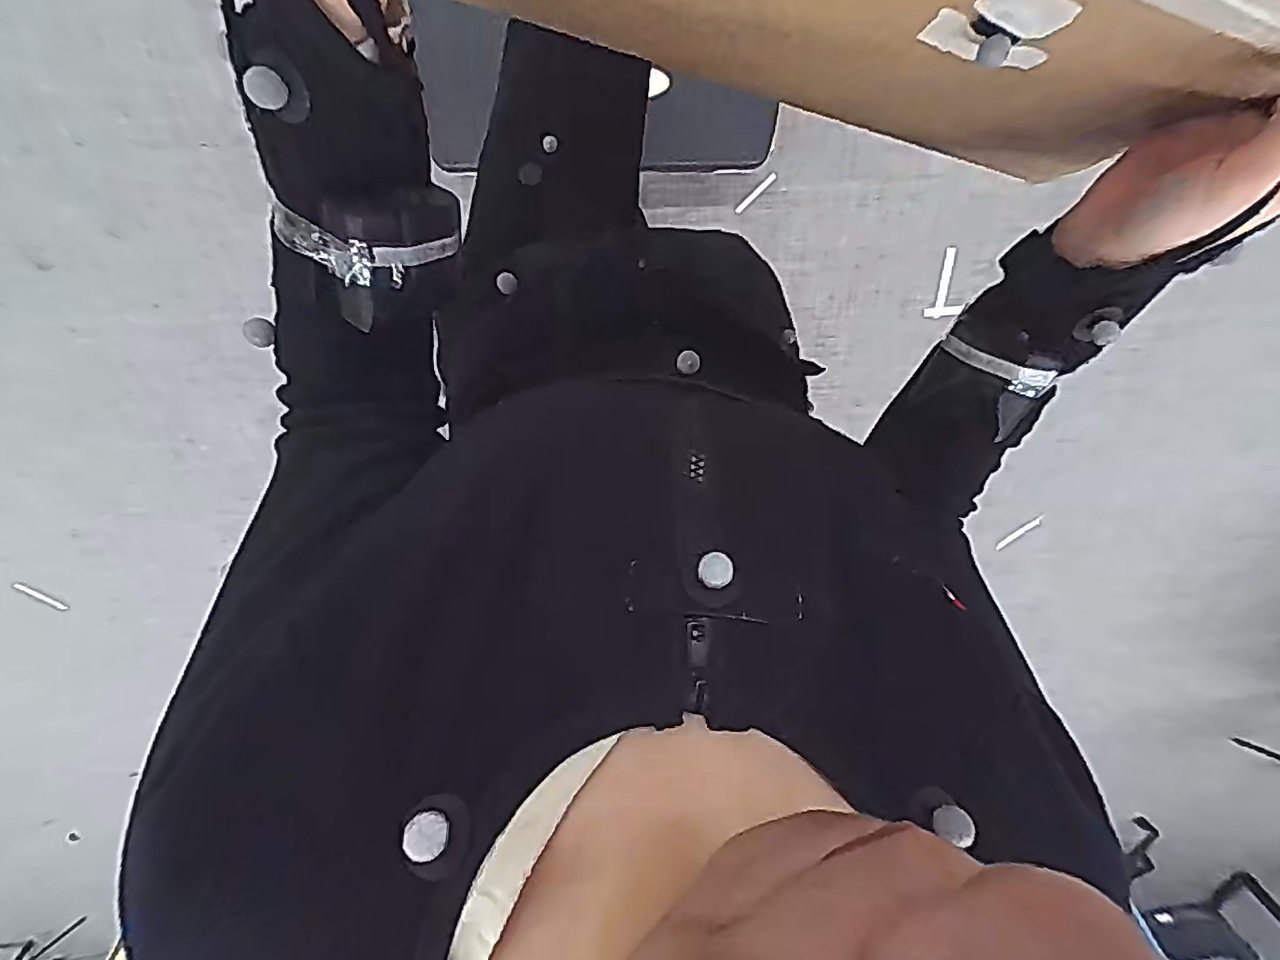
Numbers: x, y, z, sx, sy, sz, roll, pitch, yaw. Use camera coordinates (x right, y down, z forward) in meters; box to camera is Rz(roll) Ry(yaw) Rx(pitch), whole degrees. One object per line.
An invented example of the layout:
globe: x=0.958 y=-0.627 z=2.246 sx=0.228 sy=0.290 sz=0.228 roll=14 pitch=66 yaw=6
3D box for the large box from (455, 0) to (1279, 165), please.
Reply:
large box: x=0.122 y=-0.355 z=0.157 sx=0.408 sy=0.320 sz=0.320 roll=8 pitch=101 yaw=-12
